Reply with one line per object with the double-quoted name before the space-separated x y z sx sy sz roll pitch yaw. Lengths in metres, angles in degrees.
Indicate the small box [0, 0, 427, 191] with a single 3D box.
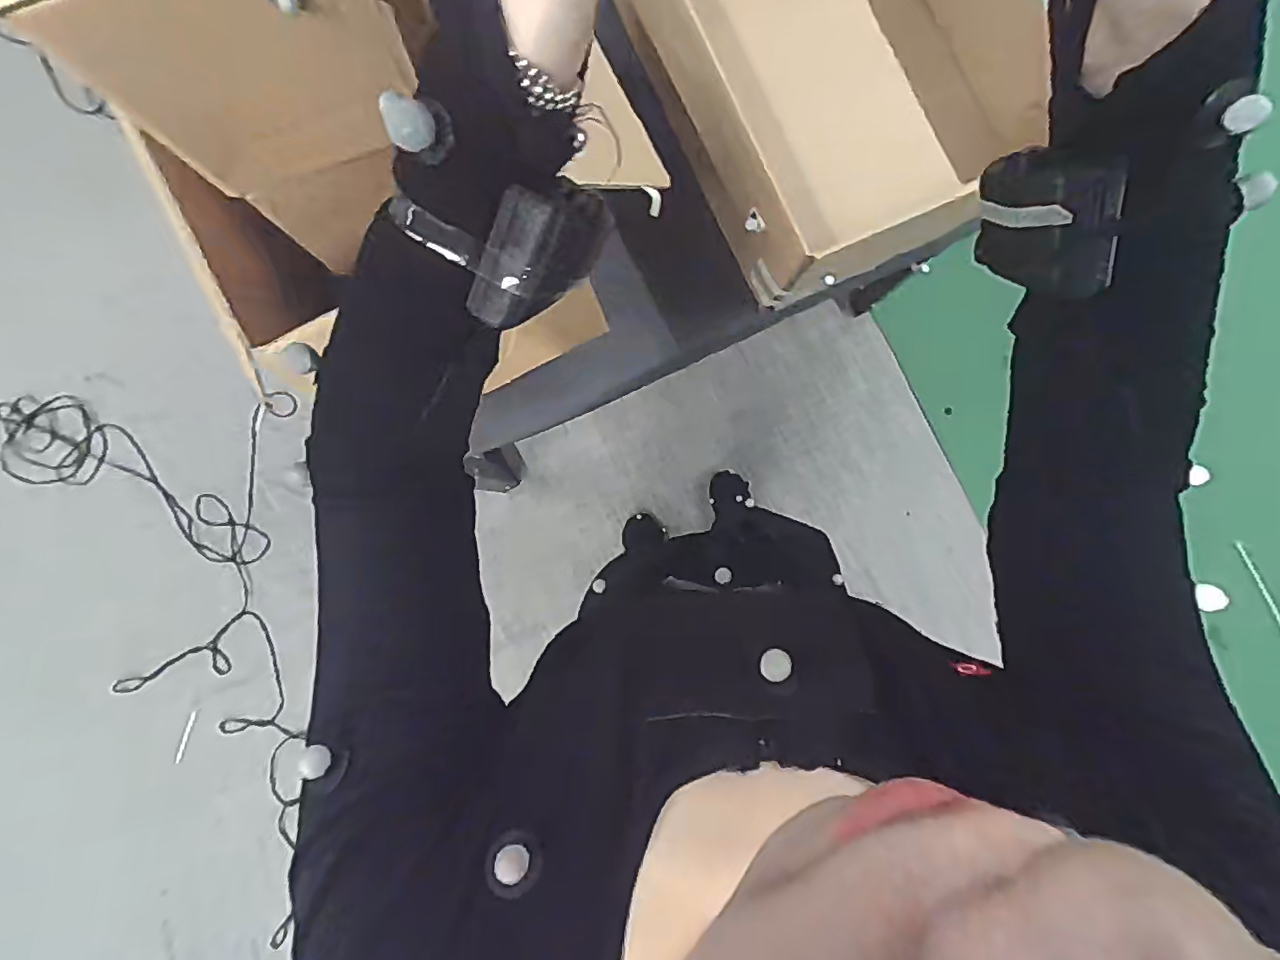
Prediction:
"small box" -0.277 -0.334 0.364 0.179 0.176 0.168 -21 89 -3
